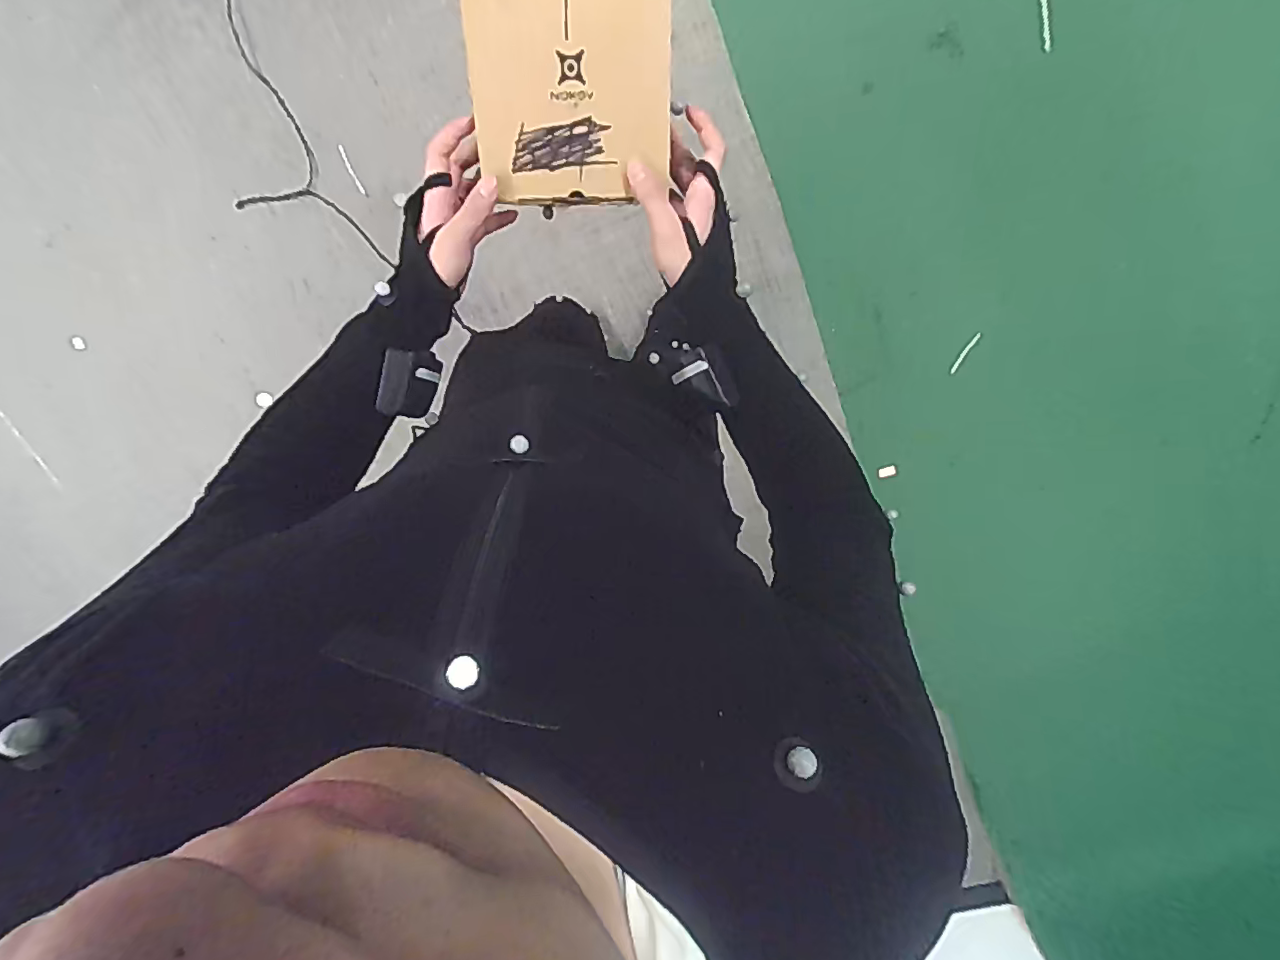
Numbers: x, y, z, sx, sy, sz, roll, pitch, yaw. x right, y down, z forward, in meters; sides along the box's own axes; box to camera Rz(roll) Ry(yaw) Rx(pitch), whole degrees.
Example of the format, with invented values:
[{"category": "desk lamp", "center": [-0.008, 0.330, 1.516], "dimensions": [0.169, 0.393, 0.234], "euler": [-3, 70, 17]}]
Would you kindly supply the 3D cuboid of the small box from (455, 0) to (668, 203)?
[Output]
[{"category": "small box", "center": [-0.058, -0.358, 0.504], "dimensions": [0.168, 0.176, 0.179], "euler": [0, 115, 1]}]
